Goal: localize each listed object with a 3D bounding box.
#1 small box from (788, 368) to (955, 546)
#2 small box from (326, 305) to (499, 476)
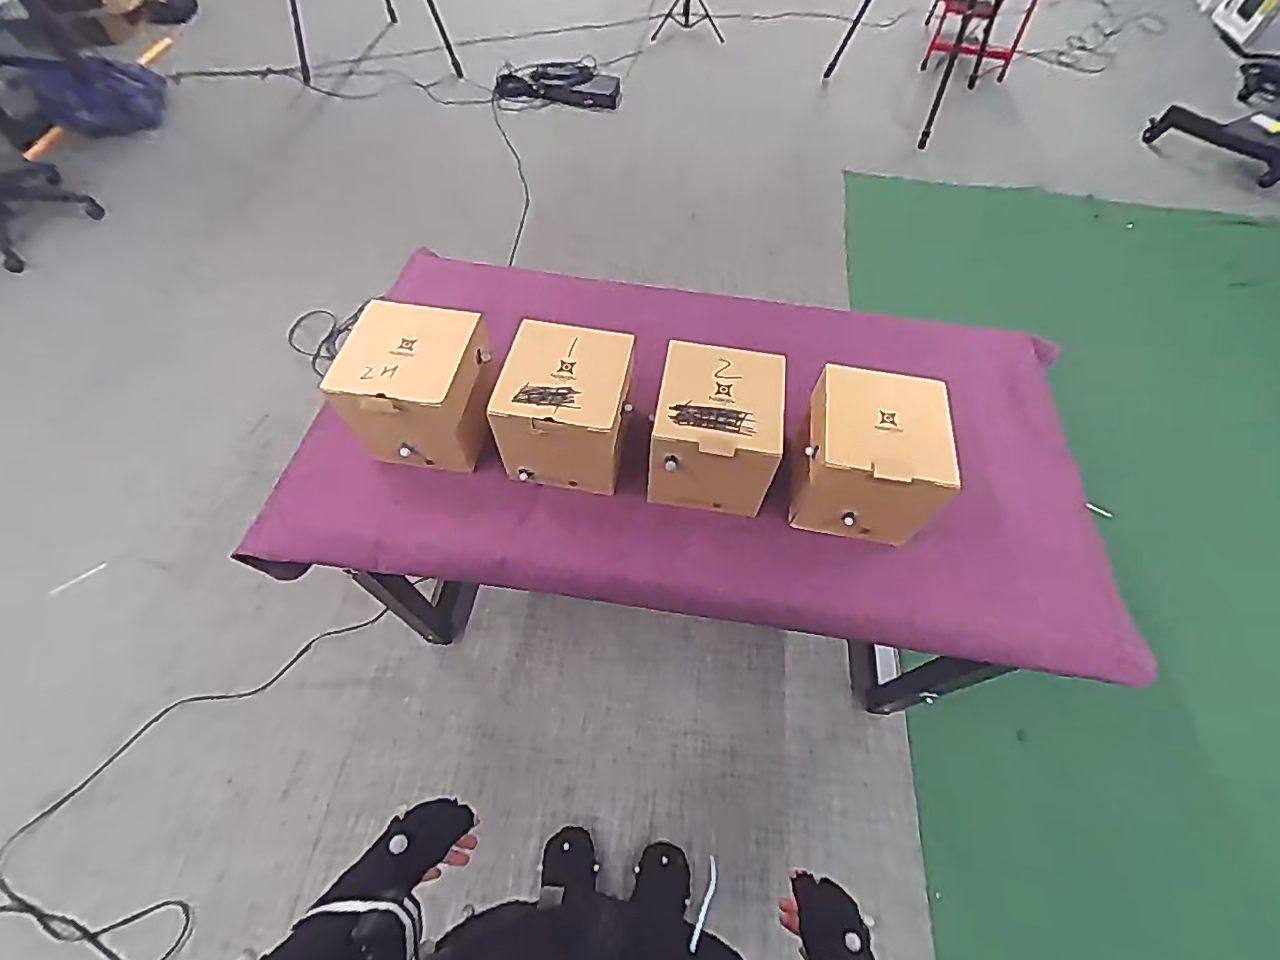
[{"bbox_3d":[0.317,-0.029,0.777,0.168,0.176,0.179,10,58,4],"label":"small box"},{"bbox_3d":[-0.323,-0.131,0.814,0.168,0.176,0.179,8,59,3],"label":"small box"}]
